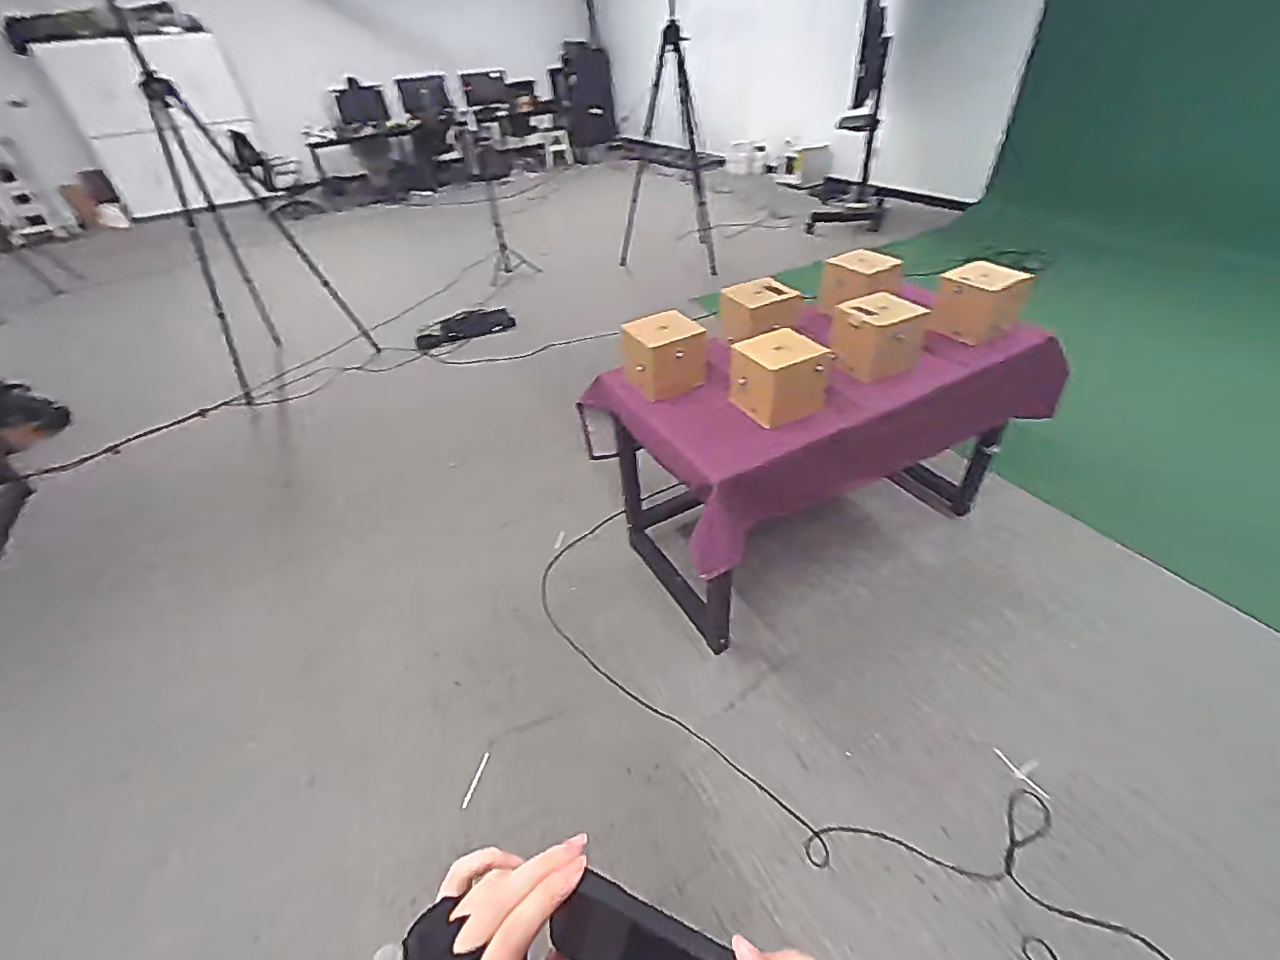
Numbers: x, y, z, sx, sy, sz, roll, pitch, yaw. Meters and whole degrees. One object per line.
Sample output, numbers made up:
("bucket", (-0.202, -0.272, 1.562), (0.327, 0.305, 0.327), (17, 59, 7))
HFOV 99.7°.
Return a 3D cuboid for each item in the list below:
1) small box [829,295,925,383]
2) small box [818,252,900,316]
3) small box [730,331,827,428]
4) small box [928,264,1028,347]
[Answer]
("small box", (0.643, -0.389, 1.494), (0.179, 0.176, 0.168), (-20, 42, -17))
("small box", (0.706, -0.624, 1.766), (0.168, 0.176, 0.179), (-25, 44, -21))
("small box", (0.343, -0.253, 1.368), (0.179, 0.176, 0.168), (-21, 42, -19))
("small box", (0.994, -0.519, 1.607), (0.179, 0.176, 0.168), (-23, 42, -20))
